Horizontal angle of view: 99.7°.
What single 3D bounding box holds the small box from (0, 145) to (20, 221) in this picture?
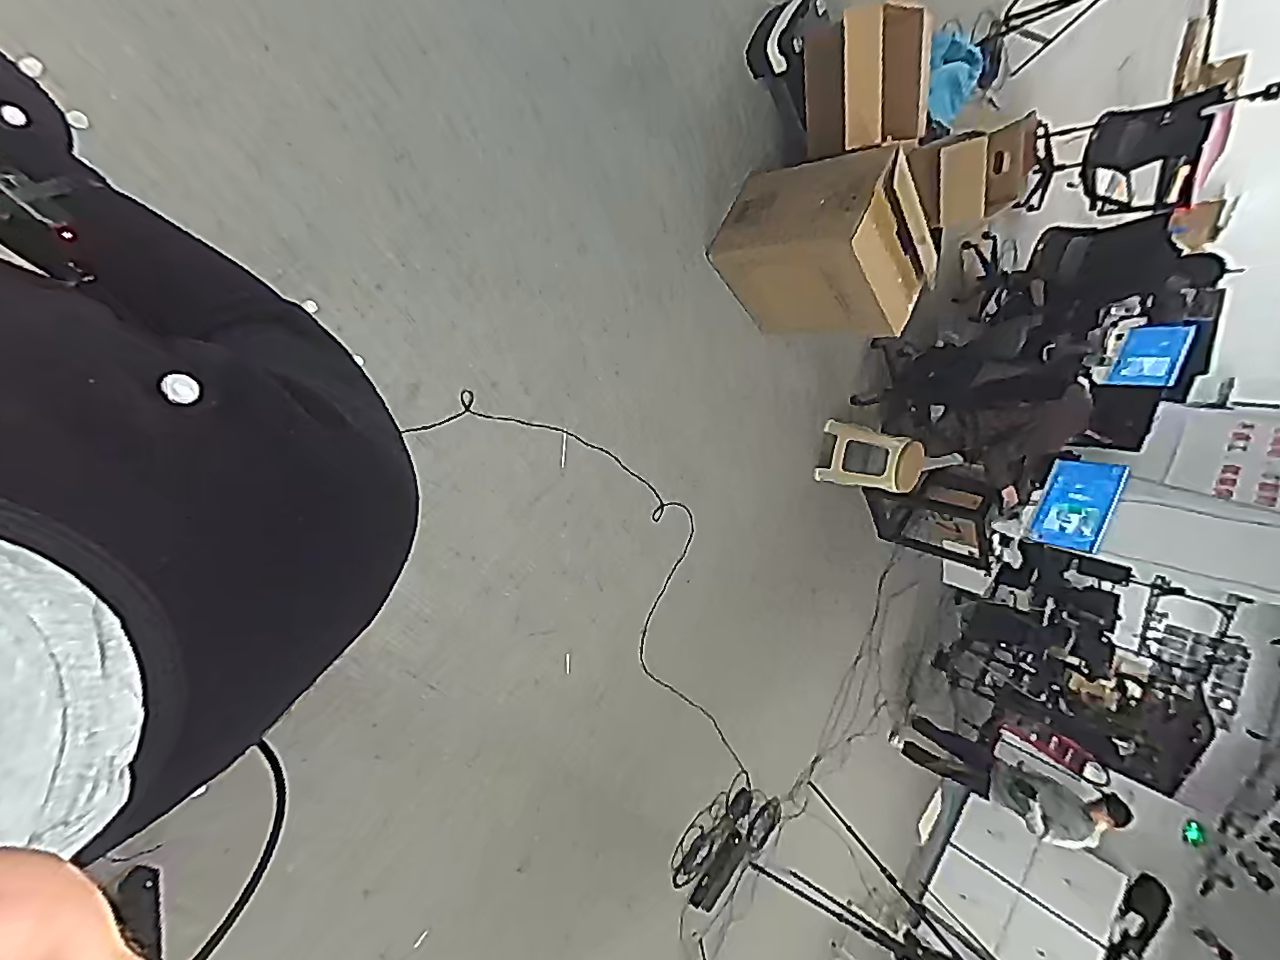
[{"bbox_3d":[-0.652,-0.325,0.425,0.179,0.176,0.168,-18,93,-42],"label":"small box"}]
